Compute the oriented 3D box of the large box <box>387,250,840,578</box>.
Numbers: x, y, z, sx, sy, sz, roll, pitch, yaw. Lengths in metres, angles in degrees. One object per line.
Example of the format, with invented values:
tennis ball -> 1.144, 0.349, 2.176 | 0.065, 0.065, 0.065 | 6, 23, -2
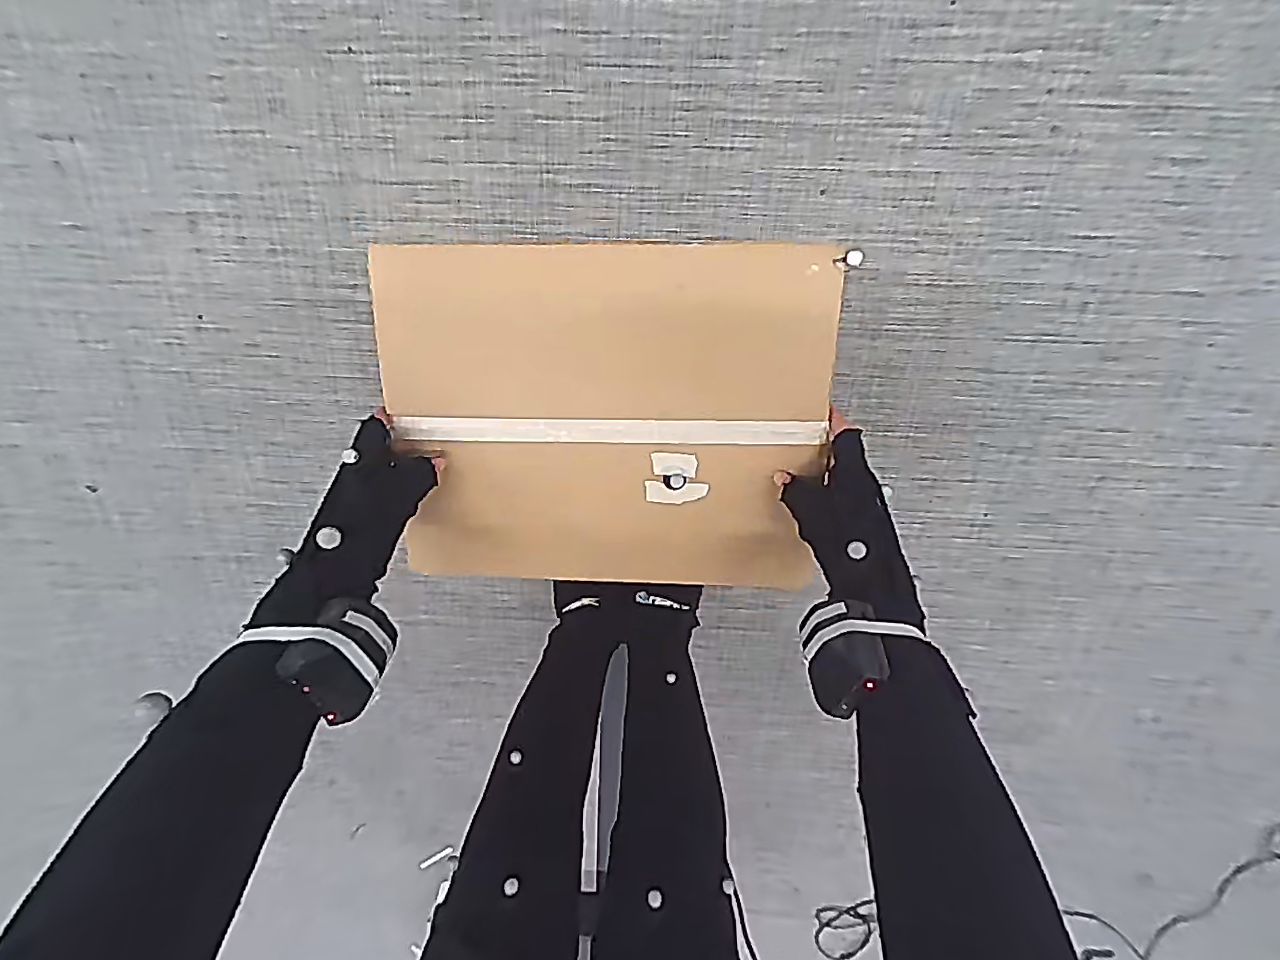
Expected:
large box -> -0.020, -0.090, 0.652 | 0.408, 0.320, 0.320 | 1, 108, 3
